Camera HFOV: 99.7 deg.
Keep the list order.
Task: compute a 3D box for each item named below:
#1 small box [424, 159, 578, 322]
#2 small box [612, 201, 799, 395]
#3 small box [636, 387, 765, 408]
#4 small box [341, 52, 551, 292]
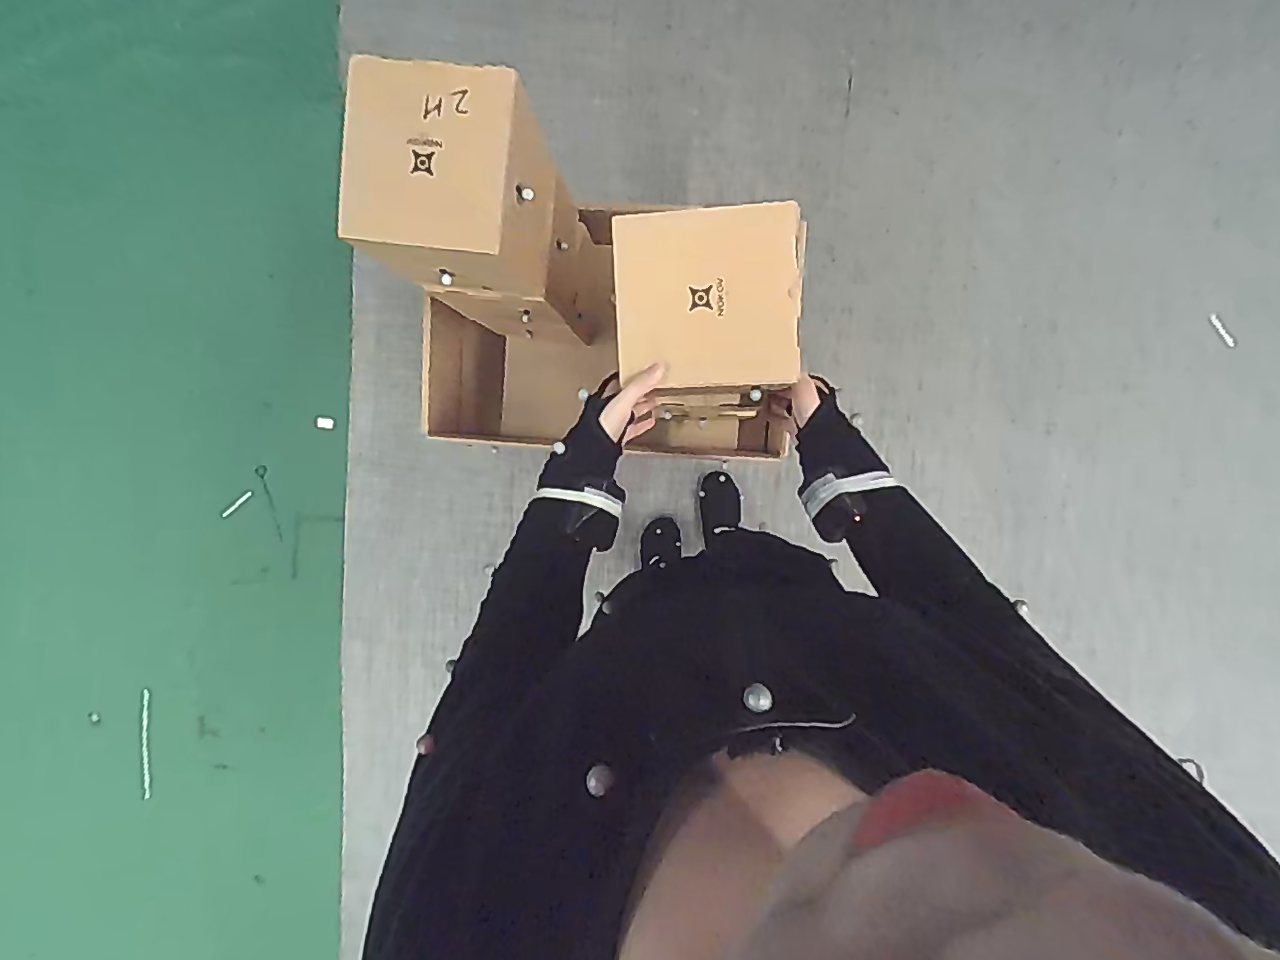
[{"bbox_3d":[-0.187,-0.332,0.770,0.168,0.176,0.179,6,95,2],"label":"small box"},{"bbox_3d":[0.071,-0.182,0.594,0.179,0.176,0.168,-2,96,6],"label":"small box"},{"bbox_3d":[0.087,-0.191,0.756,0.168,0.176,0.179,1,96,5],"label":"small box"},{"bbox_3d":[-0.203,-0.324,0.606,0.168,0.176,0.179,8,95,2],"label":"small box"}]
